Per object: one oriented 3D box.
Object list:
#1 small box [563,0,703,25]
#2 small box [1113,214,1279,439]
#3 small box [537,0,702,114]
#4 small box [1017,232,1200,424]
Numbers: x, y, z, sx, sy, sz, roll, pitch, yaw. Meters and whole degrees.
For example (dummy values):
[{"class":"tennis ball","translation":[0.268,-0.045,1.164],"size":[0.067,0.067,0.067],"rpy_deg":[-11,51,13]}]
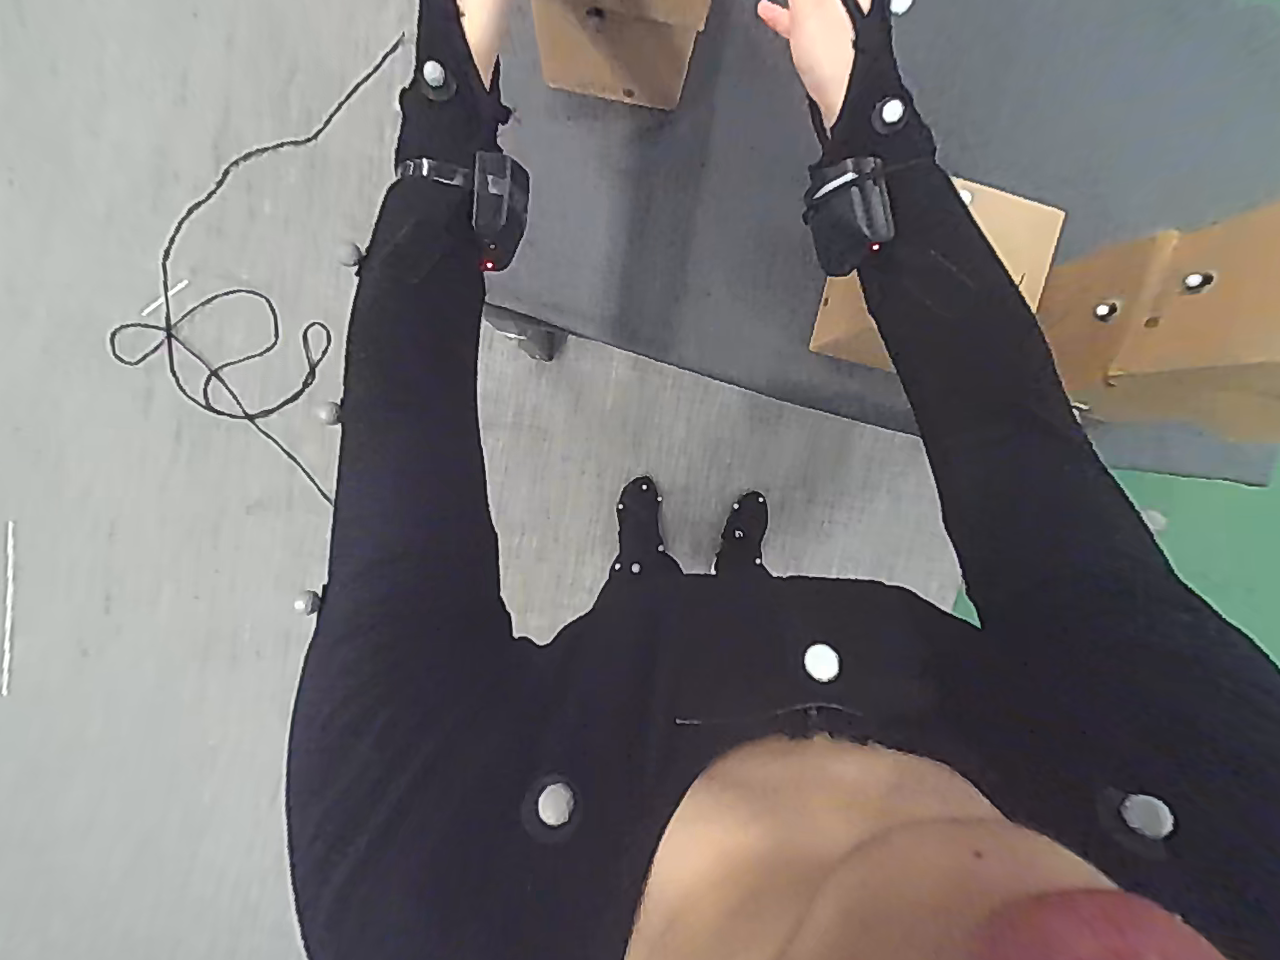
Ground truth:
[{"class":"small box","translation":[-0.008,-0.506,0.419],"size":[0.179,0.176,0.168],"rpy_deg":[9,97,-4]},{"class":"small box","translation":[0.619,-0.141,0.505],"size":[0.179,0.176,0.168],"rpy_deg":[23,93,-5]},{"class":"small box","translation":[-0.017,-0.543,0.581],"size":[0.168,0.176,0.179],"rpy_deg":[8,97,-5]},{"class":"small box","translation":[0.612,-0.171,0.665],"size":[0.168,0.176,0.179],"rpy_deg":[12,95,-4]}]
